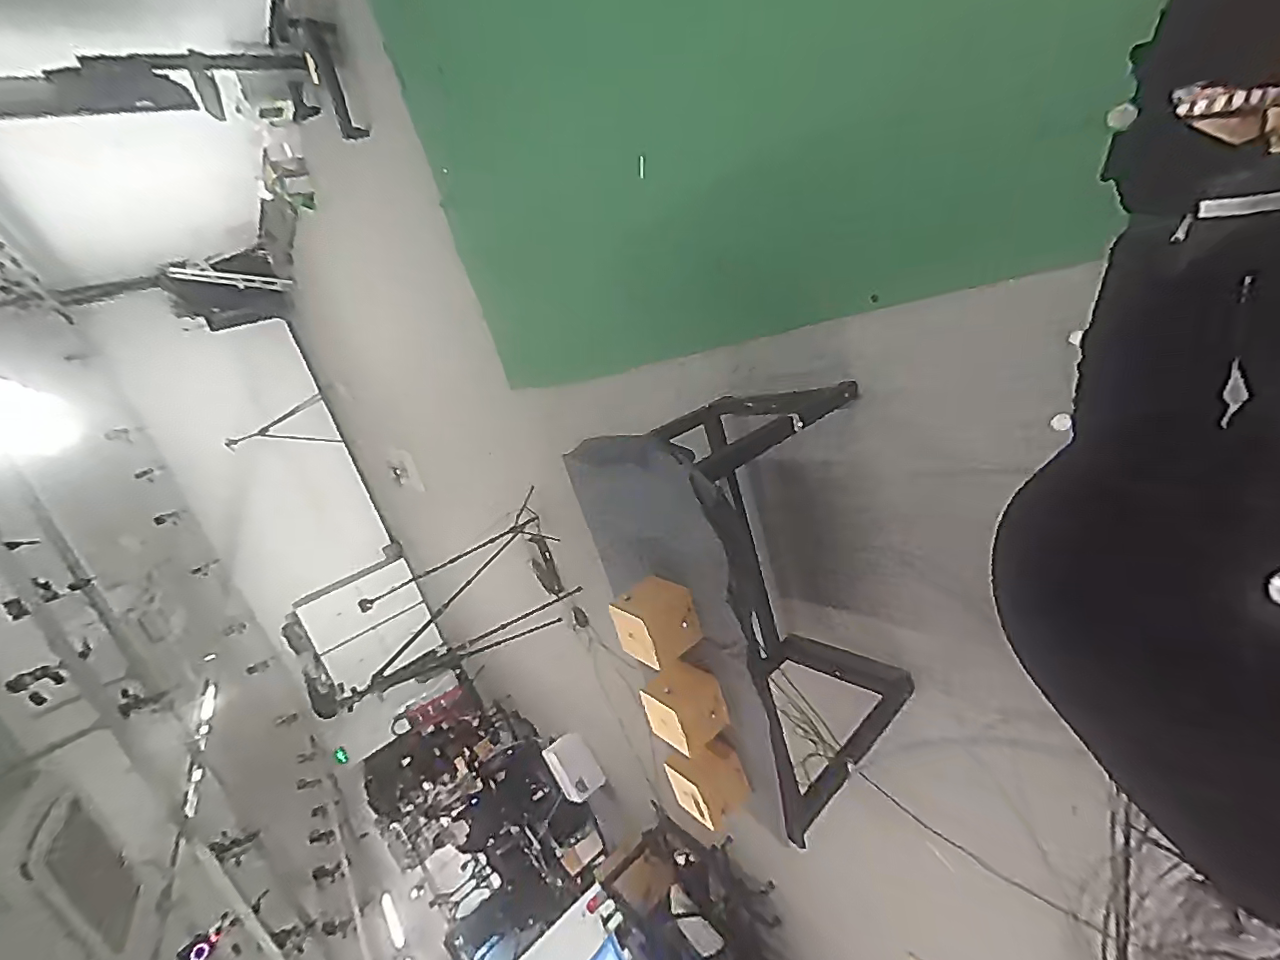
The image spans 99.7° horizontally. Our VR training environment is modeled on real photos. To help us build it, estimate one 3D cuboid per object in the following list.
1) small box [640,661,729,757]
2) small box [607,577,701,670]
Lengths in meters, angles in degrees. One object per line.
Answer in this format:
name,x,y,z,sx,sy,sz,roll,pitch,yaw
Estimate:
small box,0.133,0.664,1.596,0.179,0.176,0.168,5,117,52
small box,0.042,0.392,1.513,0.179,0.176,0.168,6,119,52
